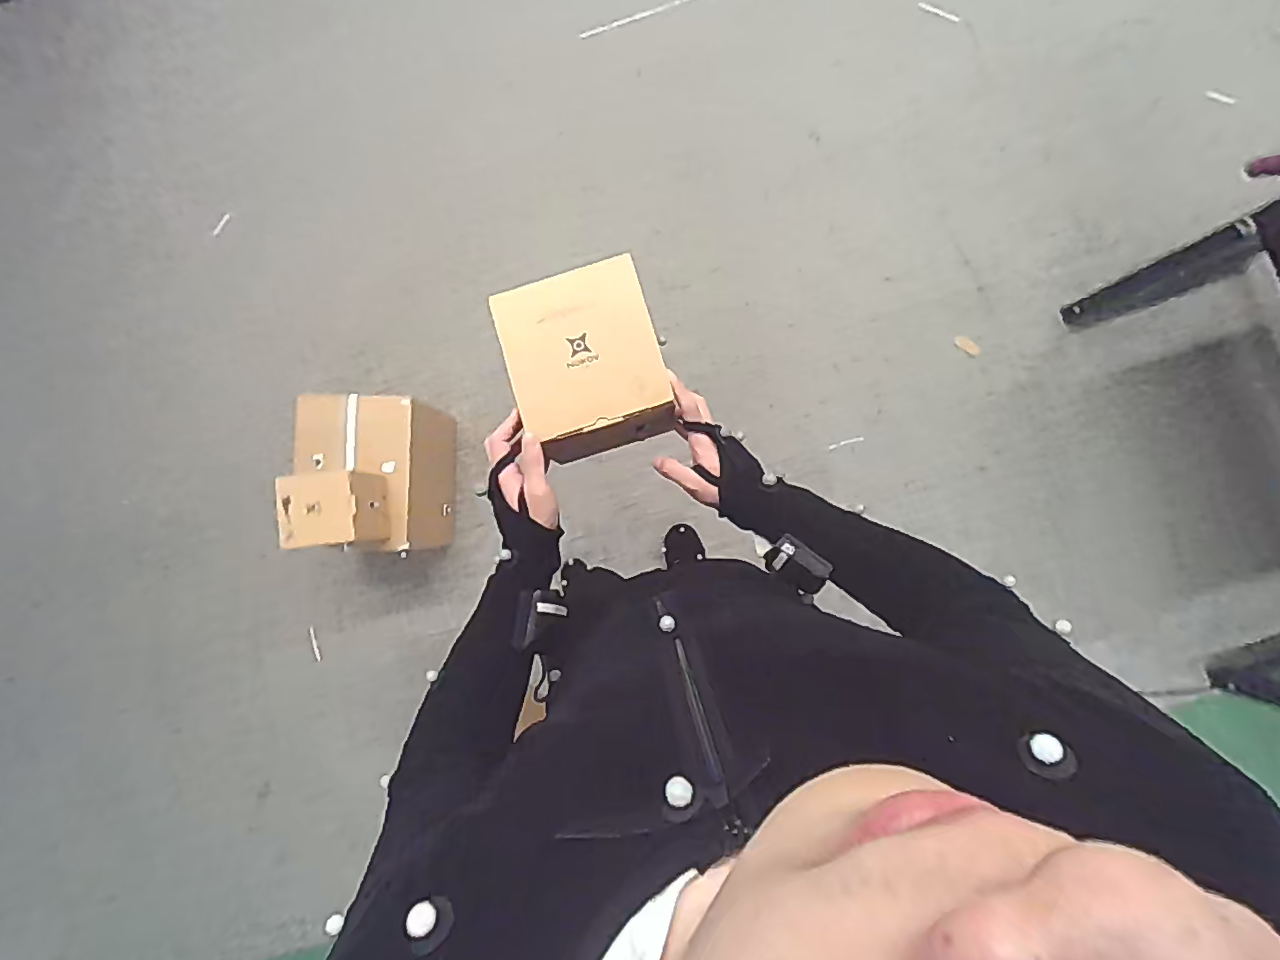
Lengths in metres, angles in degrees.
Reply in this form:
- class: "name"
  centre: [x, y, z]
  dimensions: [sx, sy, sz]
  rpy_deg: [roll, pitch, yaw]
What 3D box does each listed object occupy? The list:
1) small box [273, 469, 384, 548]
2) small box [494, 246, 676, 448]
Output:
- class: "small box"
  centre: [-0.732, 0.068, 1.291]
  dimensions: [0.179, 0.176, 0.168]
  rpy_deg: [-7, 86, 1]
- class: "small box"
  centre: [-0.055, -0.143, 0.653]
  dimensions: [0.168, 0.176, 0.179]
  rpy_deg: [-15, 84, 1]
